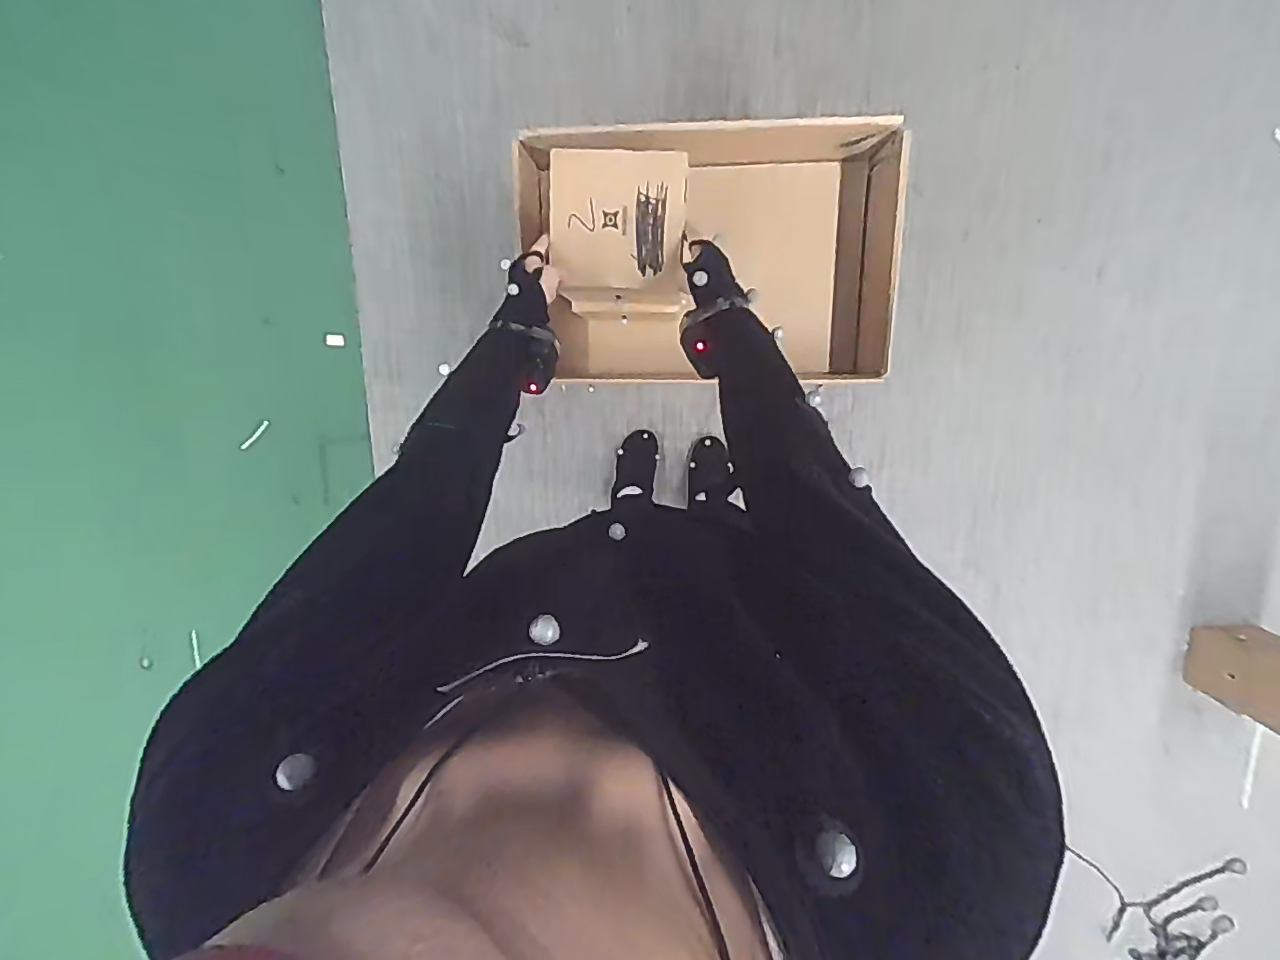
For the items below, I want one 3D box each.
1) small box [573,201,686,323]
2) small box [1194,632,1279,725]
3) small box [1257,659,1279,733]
[{"bbox_3d":[-0.014,-0.363,0.922,0.179,0.176,0.168,2,101,4],"label":"small box"},{"bbox_3d":[1.611,0.509,1.407,0.168,0.176,0.179,-2,101,5],"label":"small box"},{"bbox_3d":[1.600,0.529,1.245,0.168,0.176,0.179,-1,100,5],"label":"small box"}]
